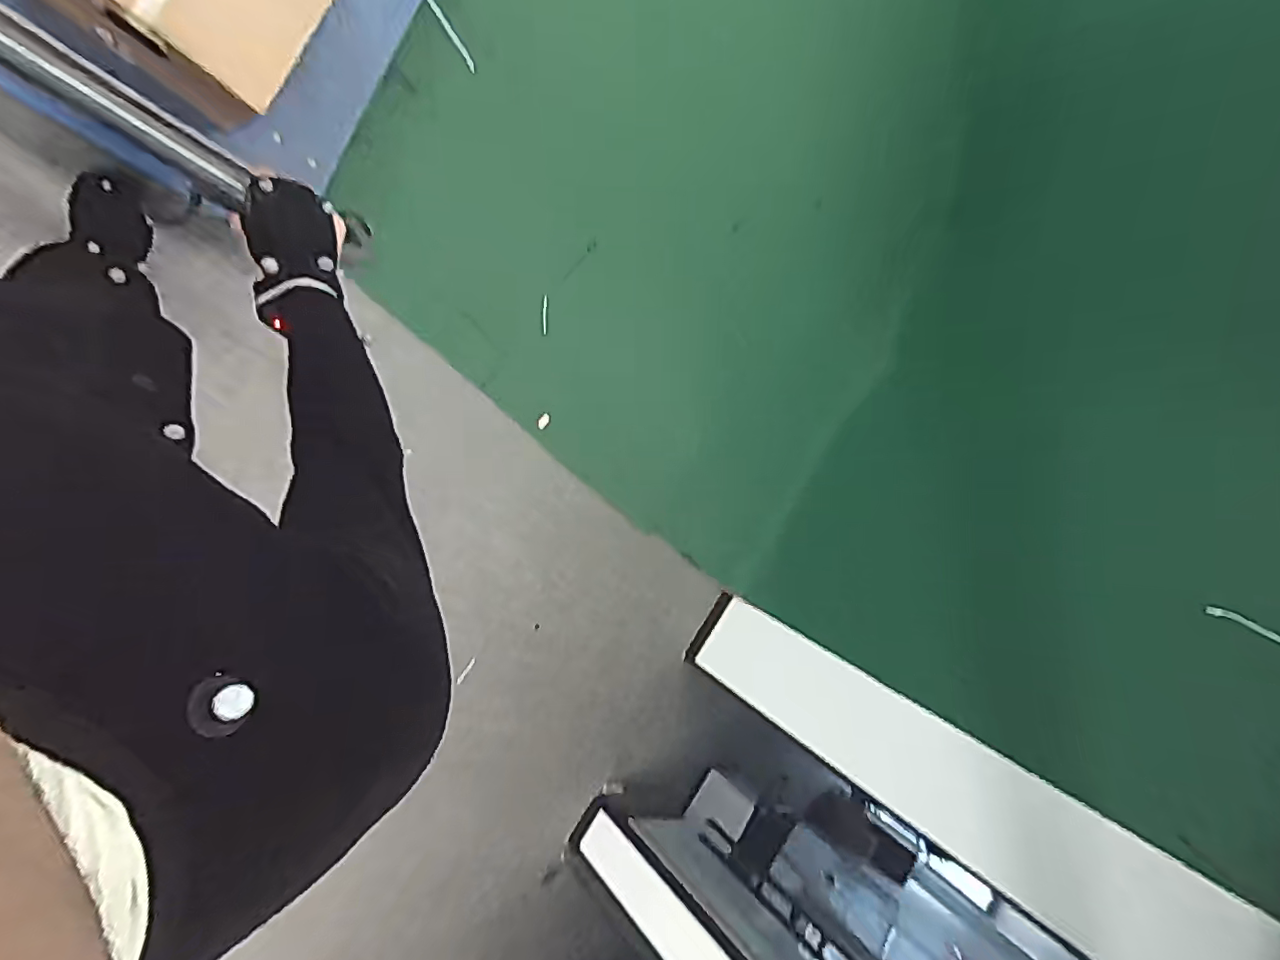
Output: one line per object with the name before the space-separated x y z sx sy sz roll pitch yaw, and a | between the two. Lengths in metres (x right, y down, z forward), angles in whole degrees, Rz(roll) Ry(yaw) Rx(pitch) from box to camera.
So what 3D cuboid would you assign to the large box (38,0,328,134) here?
large box | -0.686 -0.840 0.837 0.320 0.320 0.408 31 86 -48
